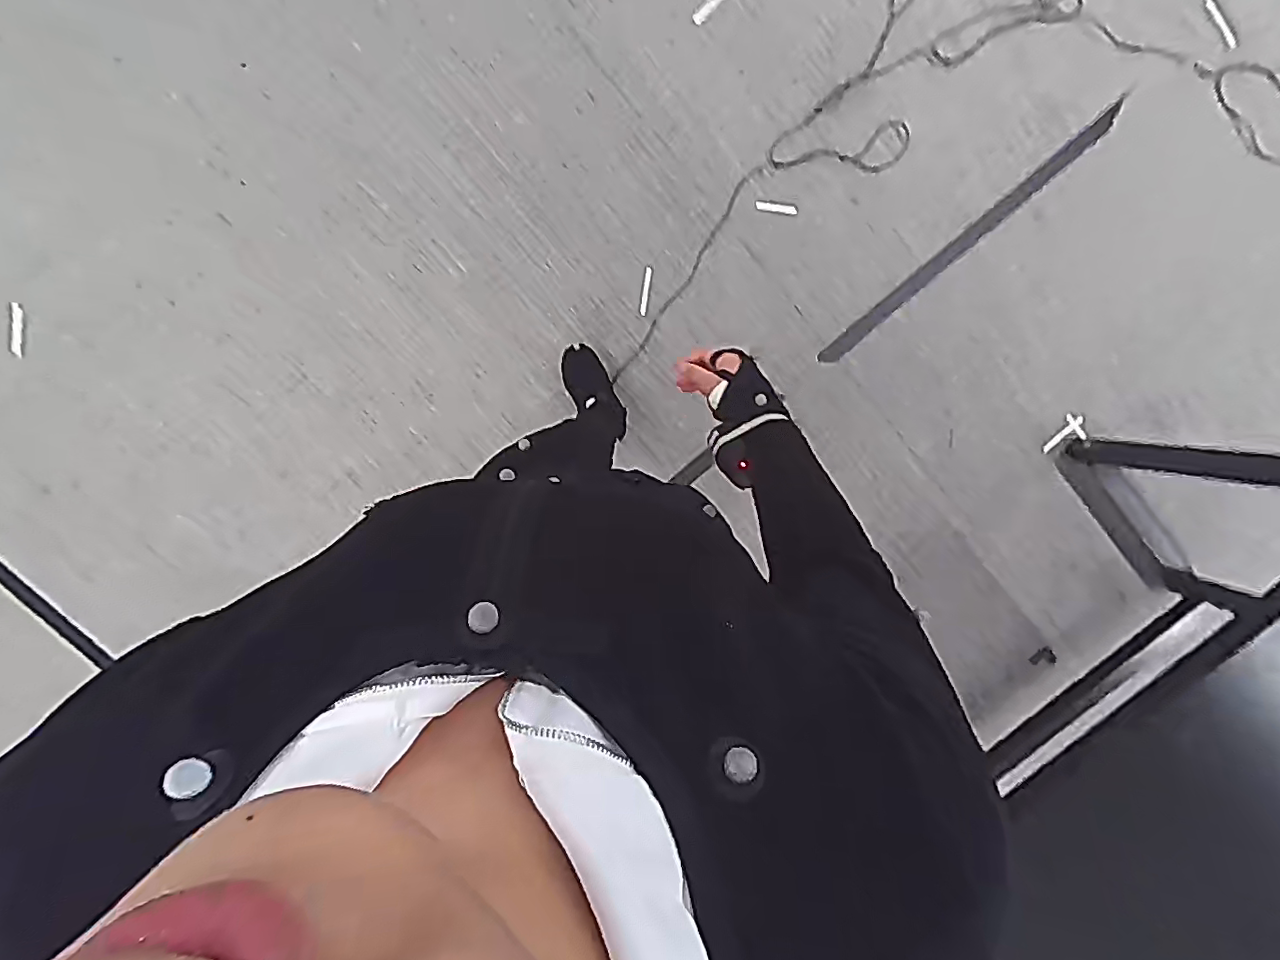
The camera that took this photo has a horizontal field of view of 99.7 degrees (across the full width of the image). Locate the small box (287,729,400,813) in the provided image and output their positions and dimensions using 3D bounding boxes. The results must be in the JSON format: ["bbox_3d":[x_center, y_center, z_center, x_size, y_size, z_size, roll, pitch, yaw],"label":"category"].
[{"bbox_3d":[-0.800,0.818,1.479,0.168,0.176,0.179,-42,98,4],"label":"small box"}]

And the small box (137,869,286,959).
[{"bbox_3d":[-0.795,0.873,0.988,0.179,0.176,0.168,-39,96,4],"label":"small box"}]
